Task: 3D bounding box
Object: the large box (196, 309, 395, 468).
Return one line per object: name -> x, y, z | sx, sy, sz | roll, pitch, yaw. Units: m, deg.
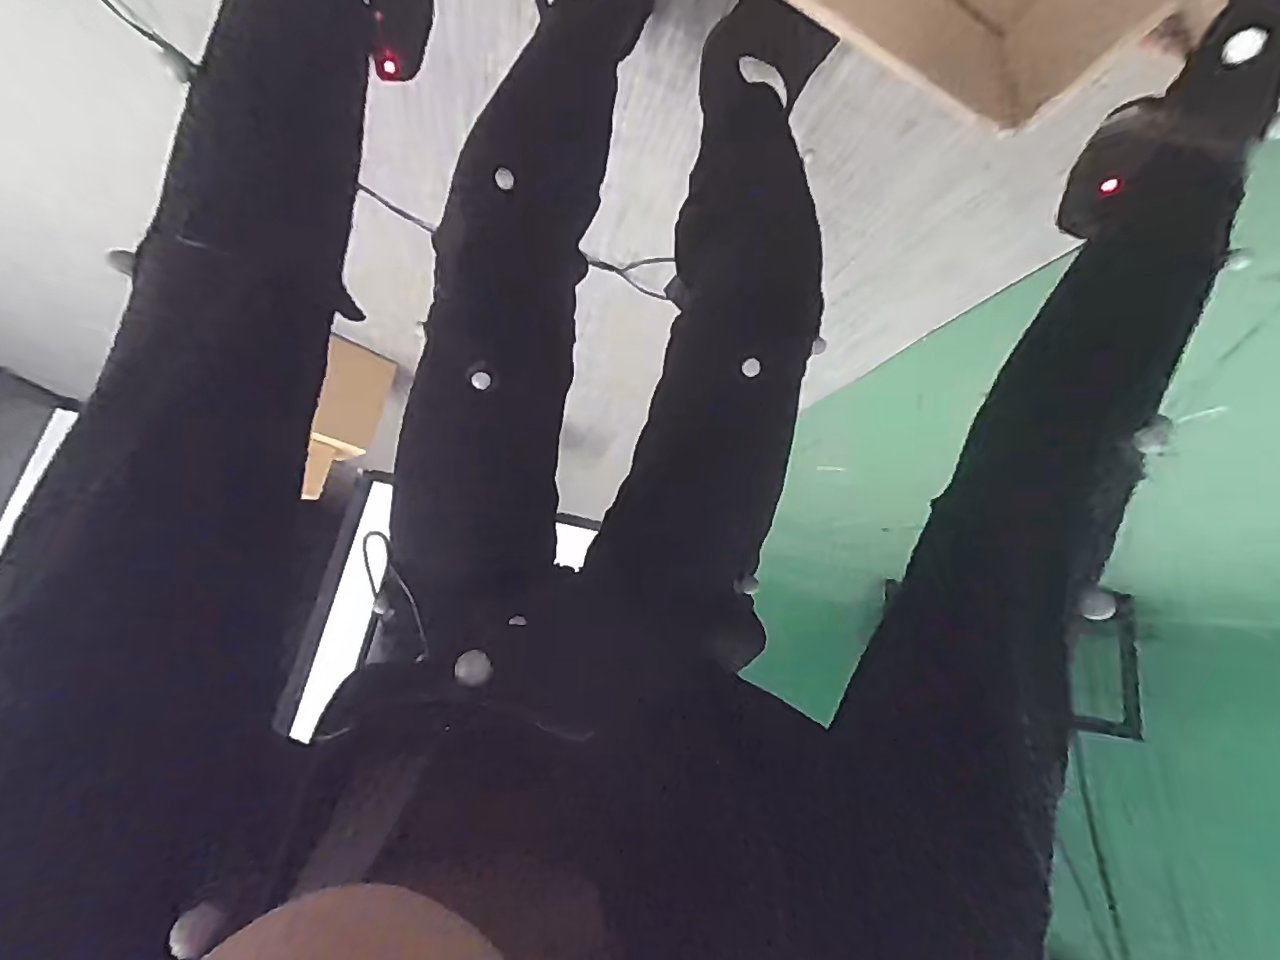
large box -> -1.054, -0.259, 1.677 | 0.320, 0.320, 0.408 | -6, 155, 44
